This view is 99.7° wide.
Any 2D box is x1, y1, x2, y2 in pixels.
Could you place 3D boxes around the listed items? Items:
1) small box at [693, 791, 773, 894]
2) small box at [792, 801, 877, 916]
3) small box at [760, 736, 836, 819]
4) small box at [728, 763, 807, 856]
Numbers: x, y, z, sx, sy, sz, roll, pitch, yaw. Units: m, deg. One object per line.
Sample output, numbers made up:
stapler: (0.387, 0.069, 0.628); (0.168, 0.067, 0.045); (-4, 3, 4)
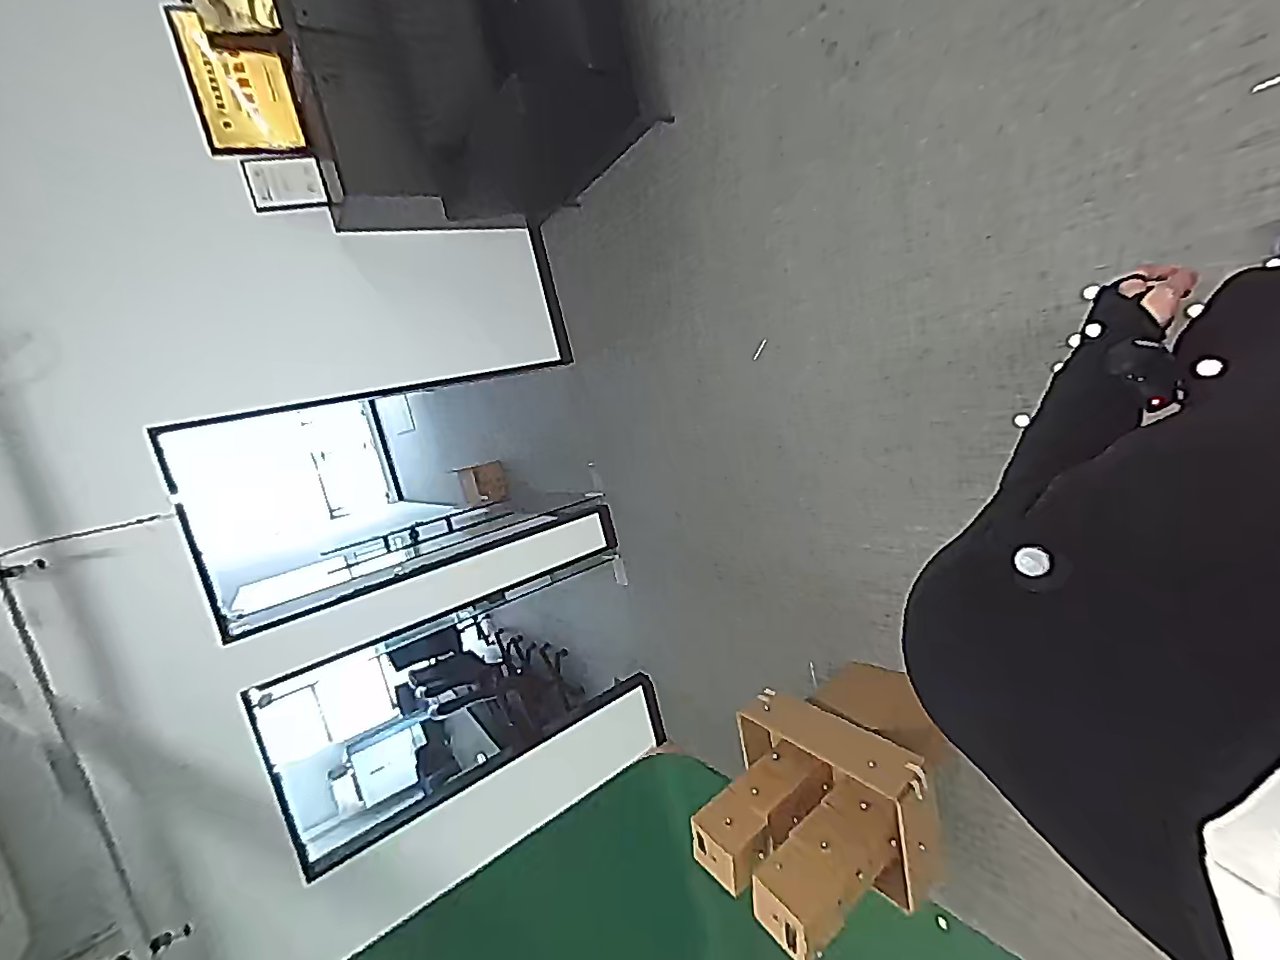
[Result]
small box: (0.289, 1.109, 1.675); (0.179, 0.176, 0.168); (14, 117, 49)
small box: (0.561, 1.081, 1.562); (0.179, 0.176, 0.168); (20, 121, 51)
small box: (0.543, 1.017, 1.858); (0.179, 0.176, 0.168); (1, 107, 53)
small box: (0.418, 1.061, 1.764); (0.179, 0.176, 0.168); (1, 105, 53)
